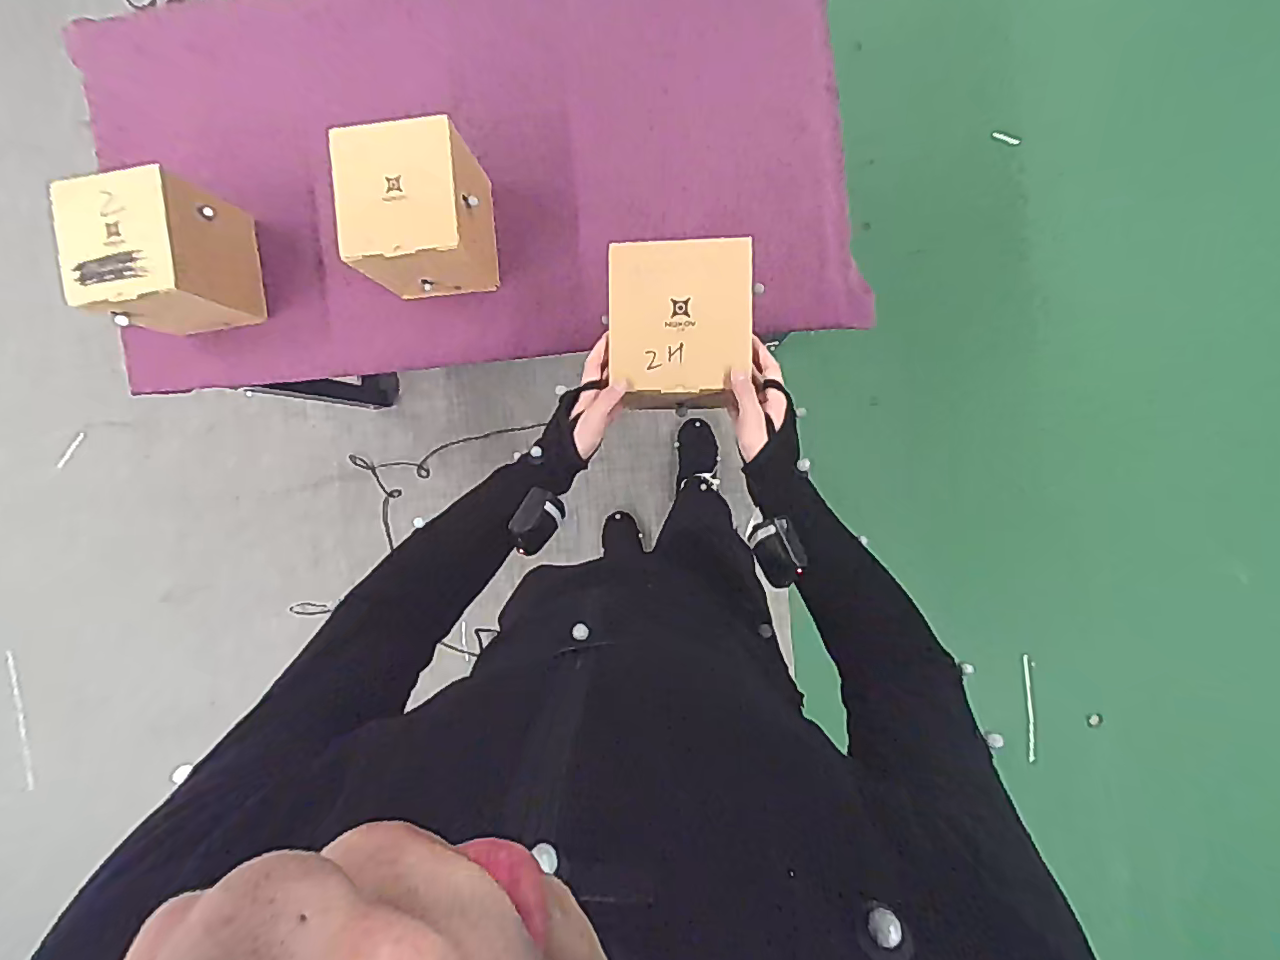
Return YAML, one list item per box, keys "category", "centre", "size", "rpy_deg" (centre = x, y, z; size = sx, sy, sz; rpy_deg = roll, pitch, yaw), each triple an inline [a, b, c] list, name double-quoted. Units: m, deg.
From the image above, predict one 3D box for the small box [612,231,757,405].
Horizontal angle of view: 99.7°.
- category: "small box"
  centre: [0.057, -0.196, 0.697]
  size: [0.168, 0.176, 0.179]
  rpy_deg: [0, 91, 6]

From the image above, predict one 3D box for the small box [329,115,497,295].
- category: "small box"
  centre: [-0.319, -0.389, 0.791]
  size: [0.168, 0.176, 0.179]
  rpy_deg: [-5, 92, 3]
